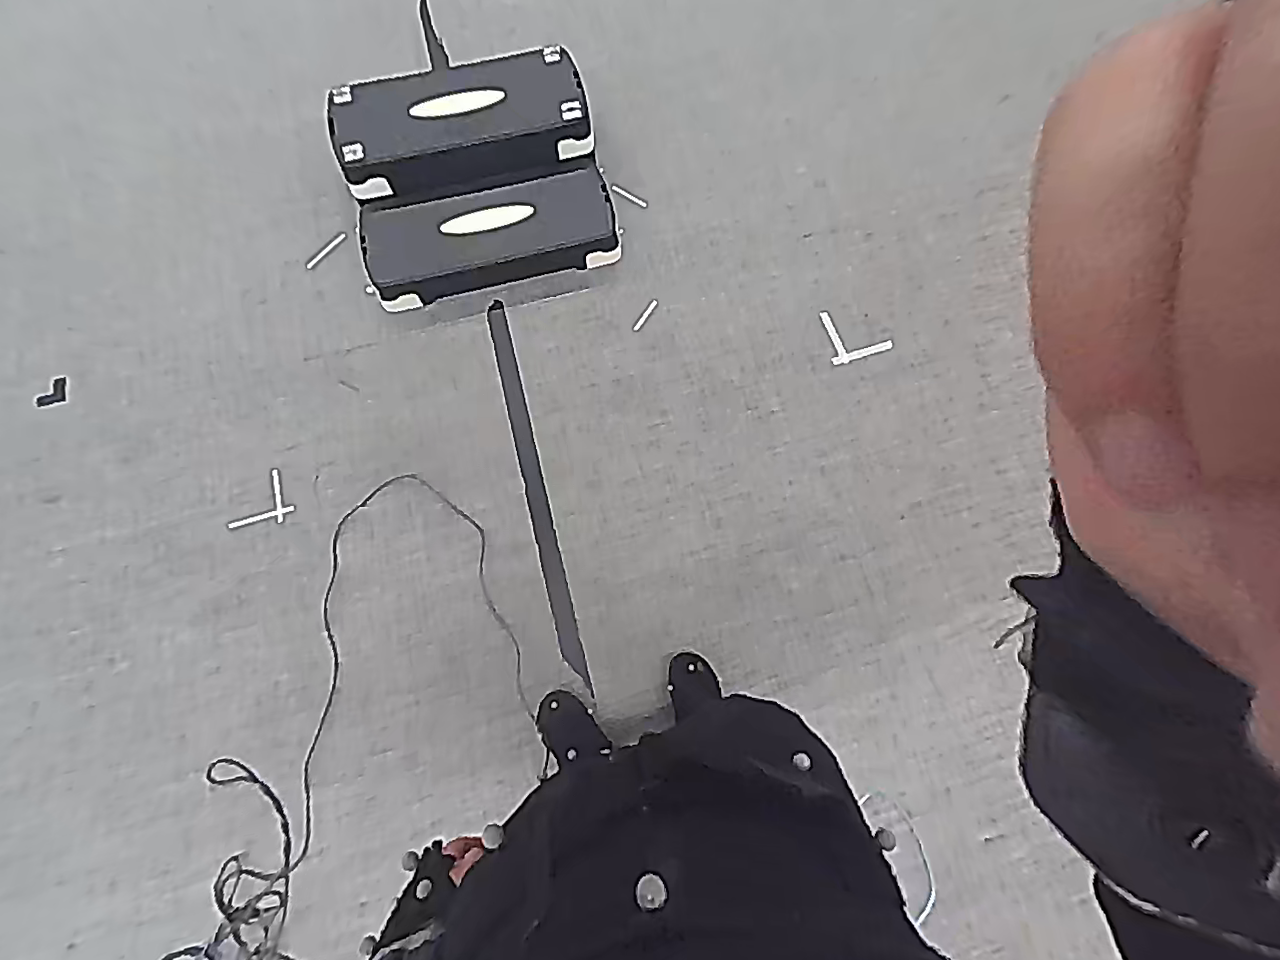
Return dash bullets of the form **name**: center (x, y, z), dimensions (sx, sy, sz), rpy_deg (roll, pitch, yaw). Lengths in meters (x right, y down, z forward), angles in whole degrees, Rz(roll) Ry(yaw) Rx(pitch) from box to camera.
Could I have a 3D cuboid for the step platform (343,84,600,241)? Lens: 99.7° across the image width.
- **step platform**: center (-0.461, -0.901, 1.530), dimensions (0.684, 0.204, 0.286), rpy_deg (-11, 73, -5)
